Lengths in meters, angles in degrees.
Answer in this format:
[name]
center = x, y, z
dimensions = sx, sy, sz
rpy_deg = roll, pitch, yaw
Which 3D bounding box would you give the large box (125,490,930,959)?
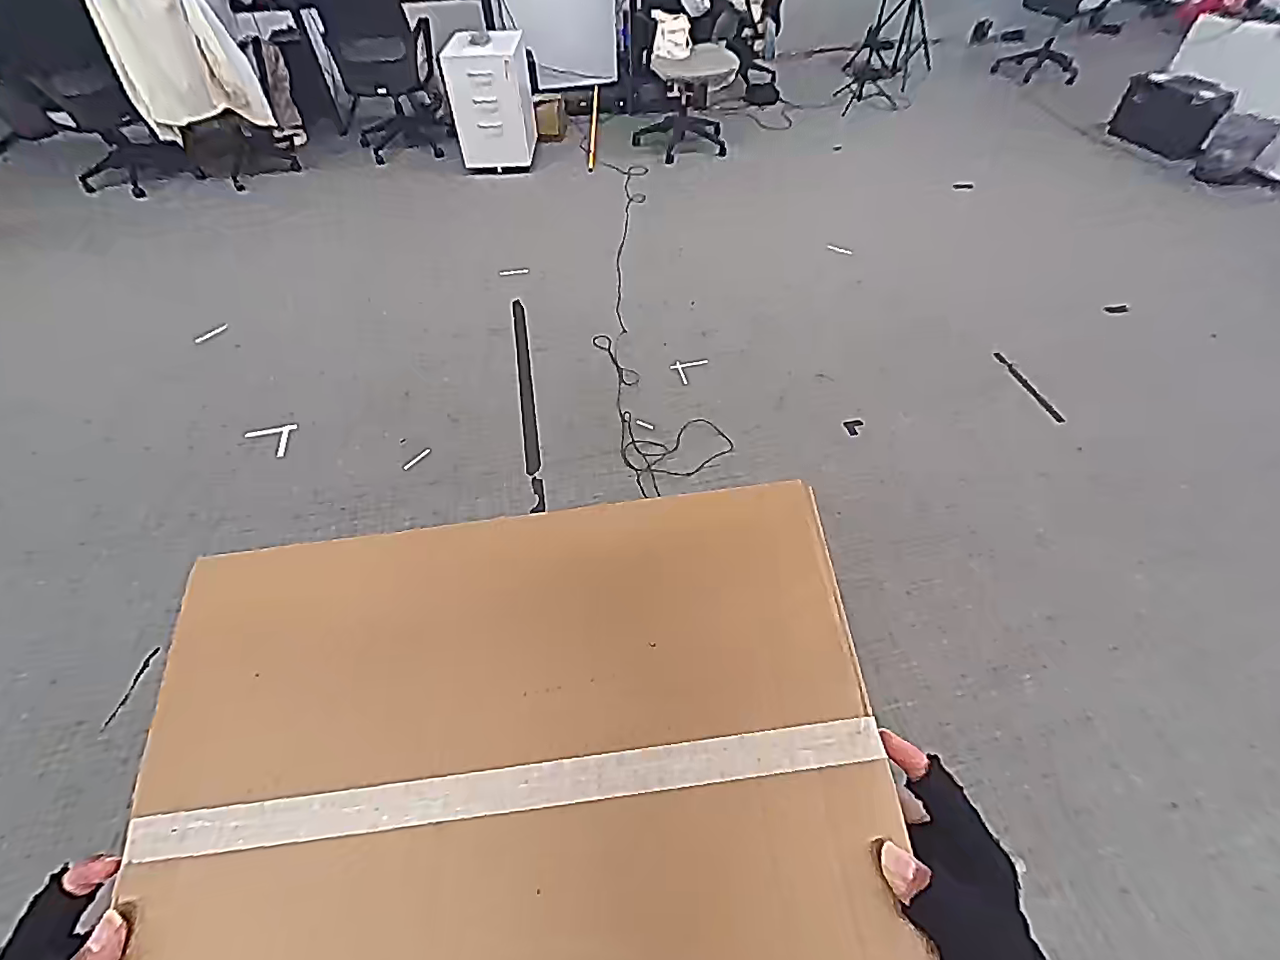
[large box]
center = -0.060, 0.233, 0.435
dimensions = 0.408, 0.320, 0.320
rpy_deg = -8, 64, 0
